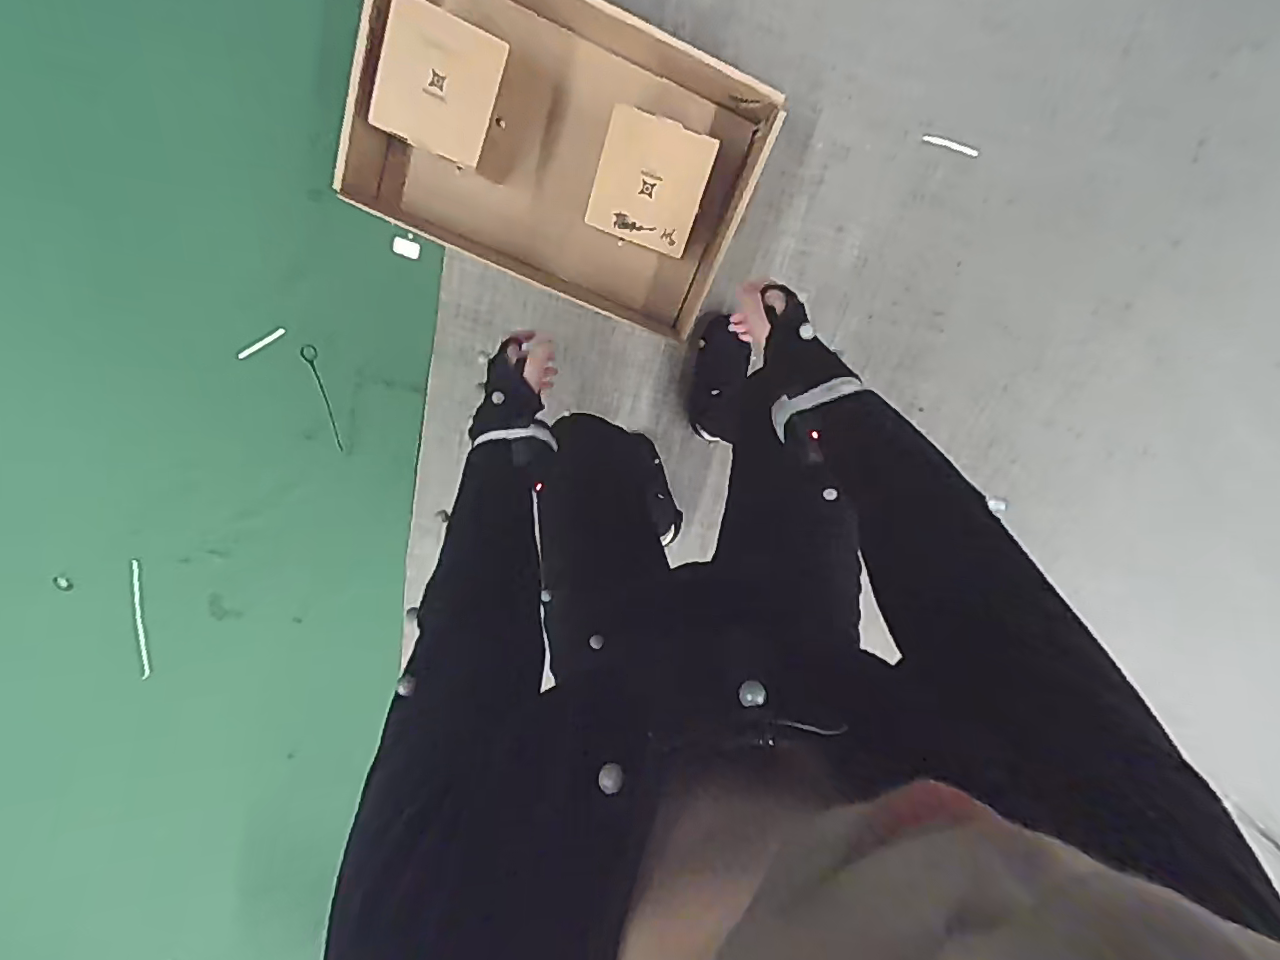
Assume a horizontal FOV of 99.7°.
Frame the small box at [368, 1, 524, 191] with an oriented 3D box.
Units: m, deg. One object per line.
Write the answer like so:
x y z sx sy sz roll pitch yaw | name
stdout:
-0.295 -0.583 0.853 0.168 0.176 0.179 22 110 -11 | small box
